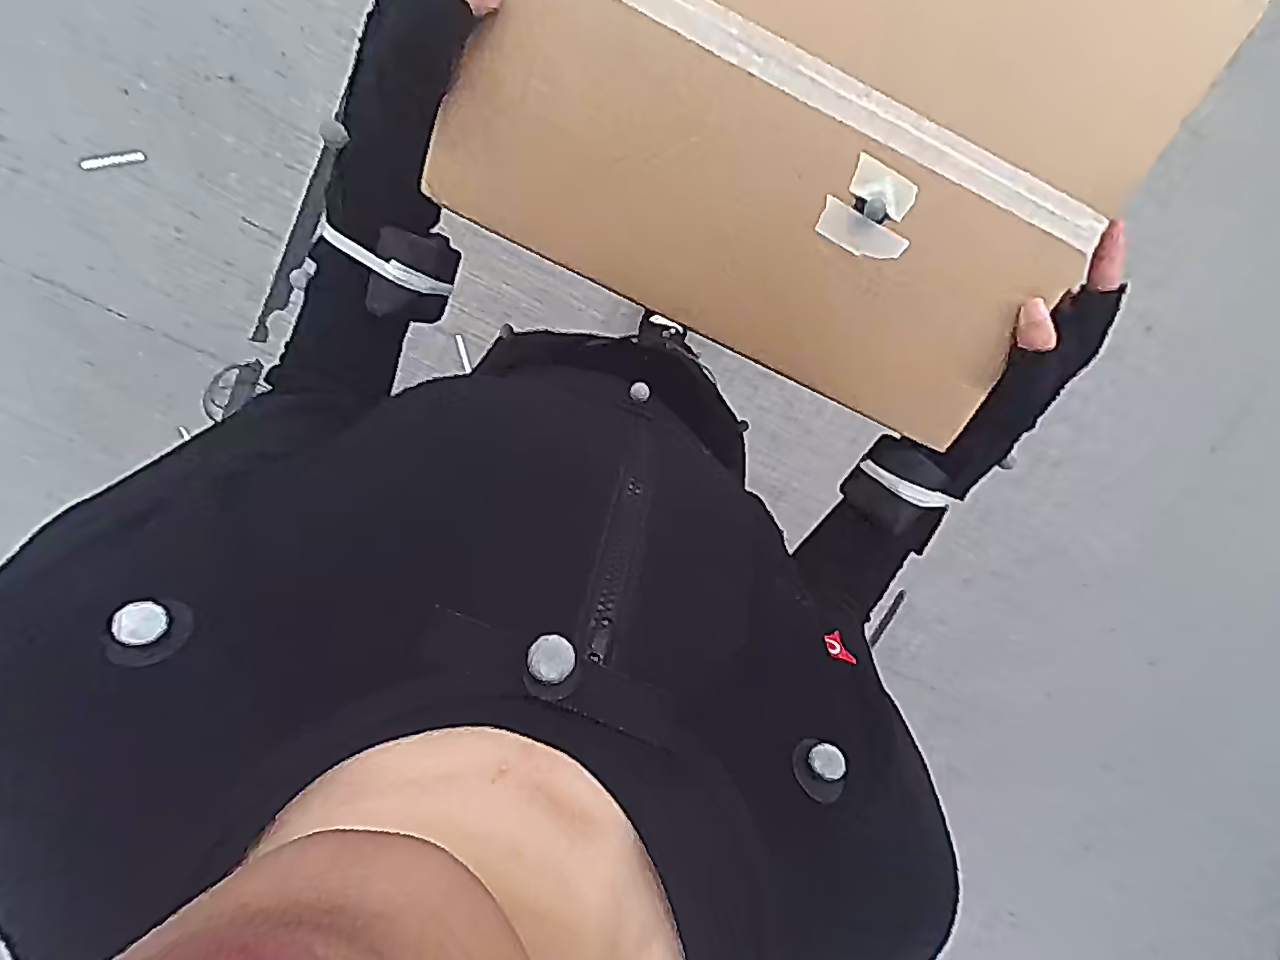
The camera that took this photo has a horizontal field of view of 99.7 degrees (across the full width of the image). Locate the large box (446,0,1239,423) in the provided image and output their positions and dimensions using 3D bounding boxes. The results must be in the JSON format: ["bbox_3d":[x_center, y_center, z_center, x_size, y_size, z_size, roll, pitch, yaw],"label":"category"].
[{"bbox_3d":[0.115,-0.300,0.469,0.408,0.320,0.320,24,112,-7],"label":"large box"}]
